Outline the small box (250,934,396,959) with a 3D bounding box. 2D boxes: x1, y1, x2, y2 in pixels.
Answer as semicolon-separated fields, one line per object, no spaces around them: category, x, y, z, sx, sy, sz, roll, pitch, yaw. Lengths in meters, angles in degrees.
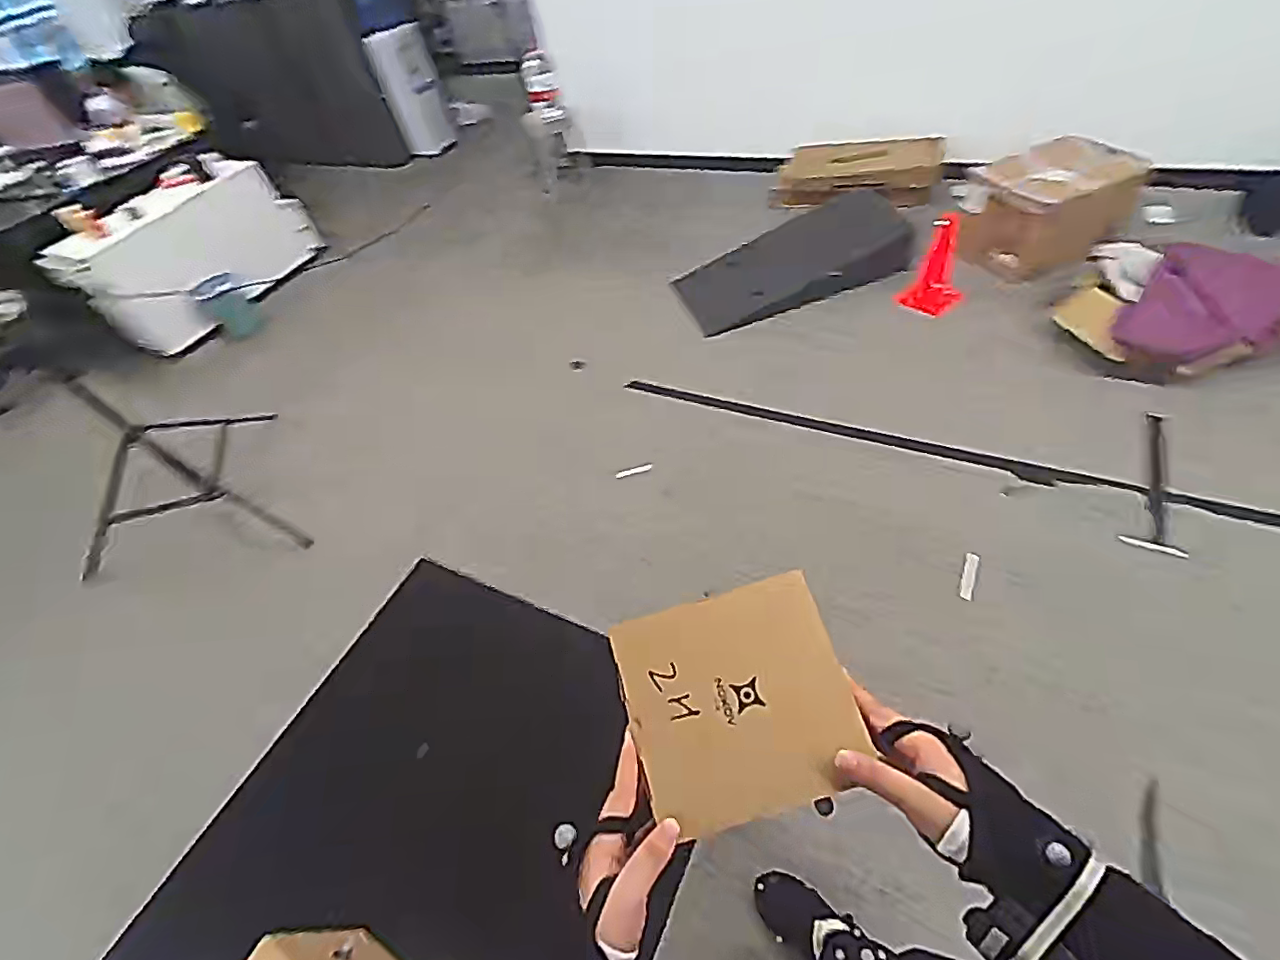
small box;-0.301;0.564;0.500;0.179;0.176;0.168;16;58;23
